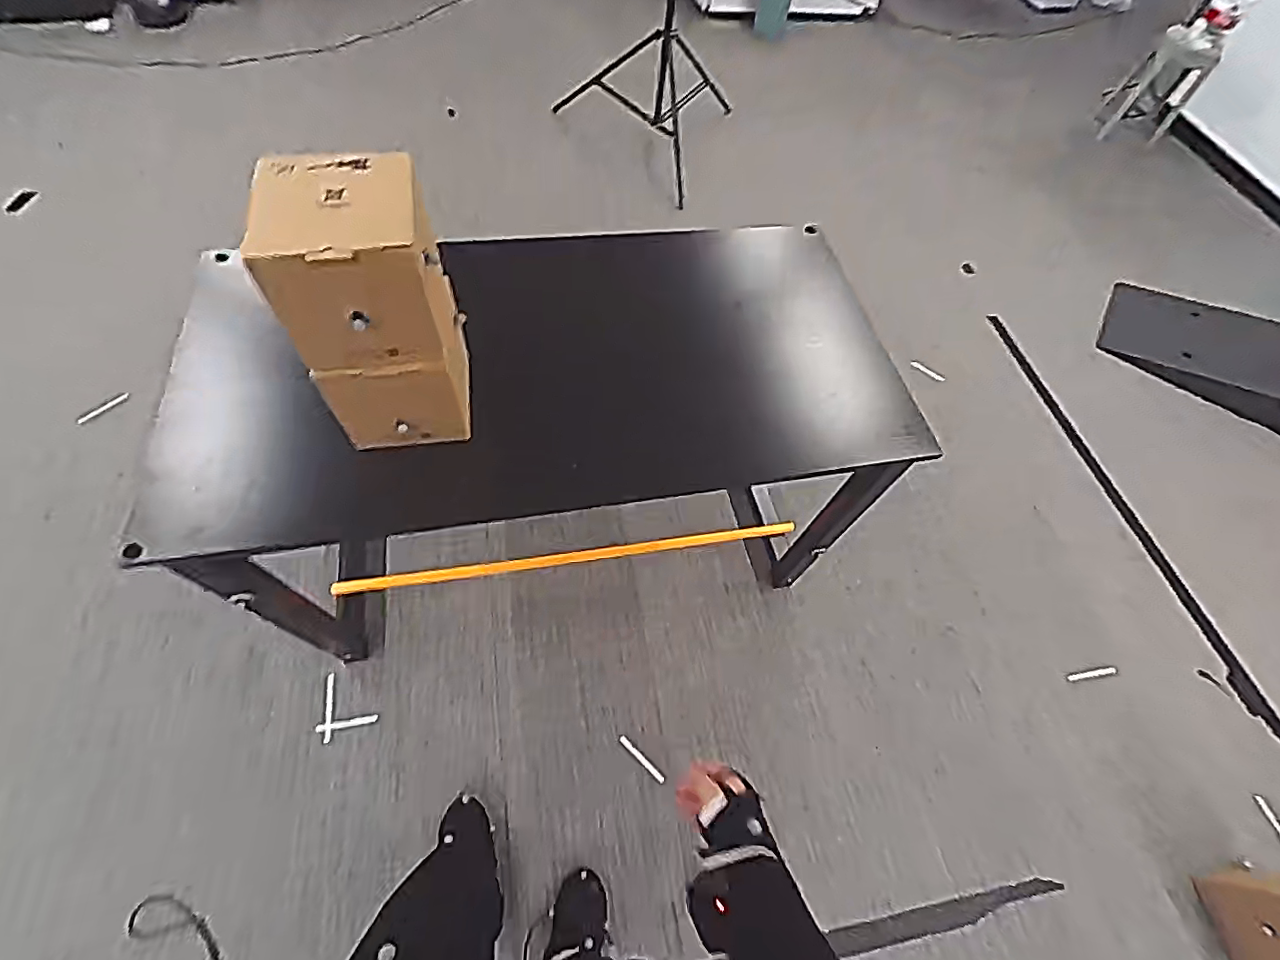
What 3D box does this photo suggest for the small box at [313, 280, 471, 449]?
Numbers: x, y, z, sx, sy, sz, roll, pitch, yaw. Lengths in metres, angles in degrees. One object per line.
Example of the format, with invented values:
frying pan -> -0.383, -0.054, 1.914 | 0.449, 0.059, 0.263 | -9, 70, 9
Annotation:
small box -> -0.347, -0.166, 0.792 | 0.168, 0.176, 0.179 | -6, 61, -9

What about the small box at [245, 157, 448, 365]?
small box -> -0.336, -0.255, 0.654 | 0.168, 0.176, 0.179 | -8, 62, -11

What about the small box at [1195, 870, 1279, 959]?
small box -> 1.393, 0.970, 1.176 | 0.168, 0.176, 0.179 | -4, 62, -8

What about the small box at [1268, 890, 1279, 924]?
small box -> 1.408, 0.885, 1.038 | 0.179, 0.176, 0.168 | -9, 61, -9
